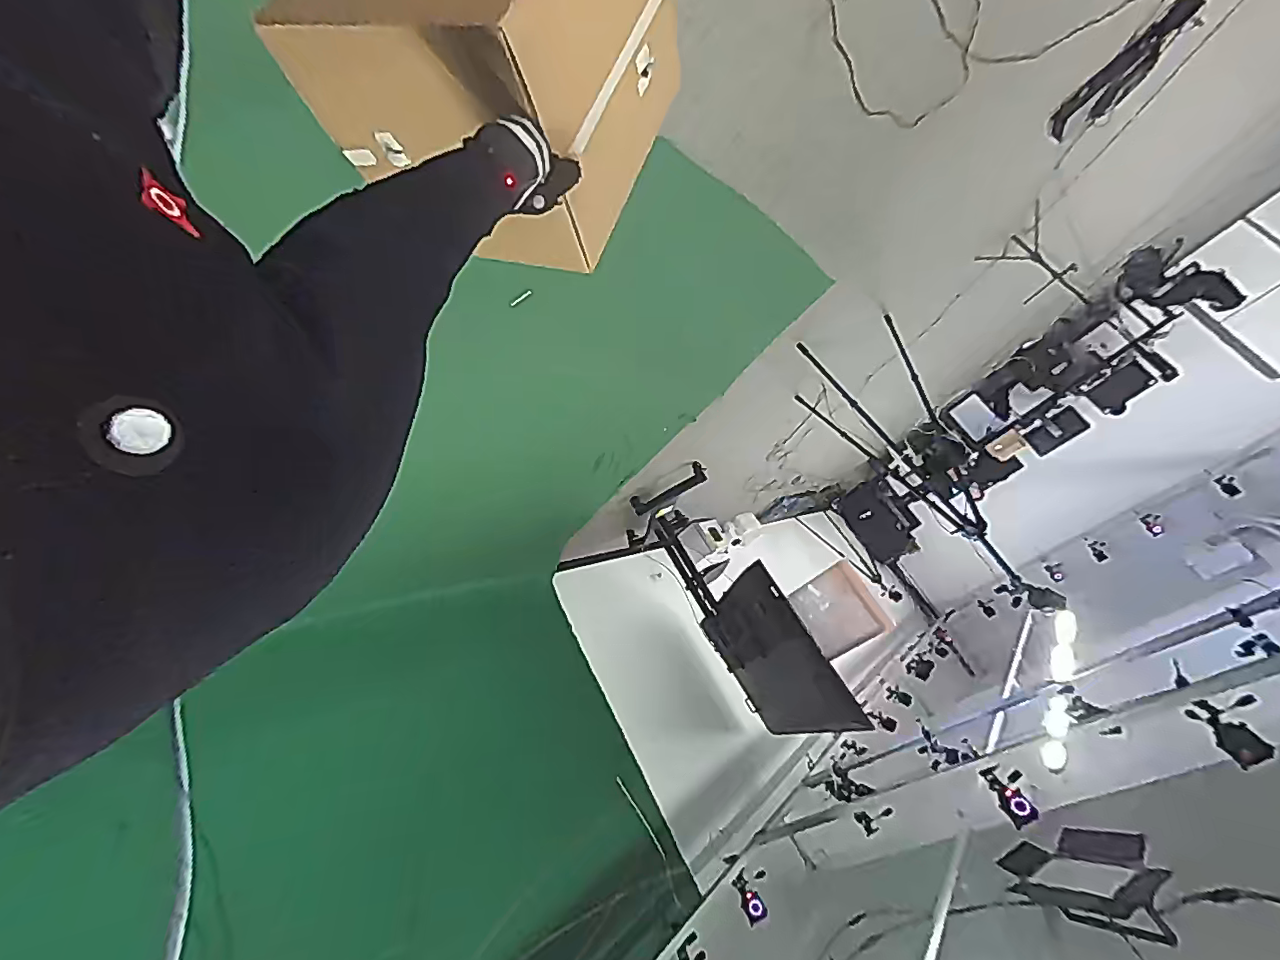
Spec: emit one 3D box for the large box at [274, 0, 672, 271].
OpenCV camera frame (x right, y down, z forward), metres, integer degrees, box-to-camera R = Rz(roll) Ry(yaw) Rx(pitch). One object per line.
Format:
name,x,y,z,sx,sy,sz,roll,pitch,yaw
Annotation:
large box,-0.179,-0.559,0.737,0.320,0.320,0.408,63,43,-65
